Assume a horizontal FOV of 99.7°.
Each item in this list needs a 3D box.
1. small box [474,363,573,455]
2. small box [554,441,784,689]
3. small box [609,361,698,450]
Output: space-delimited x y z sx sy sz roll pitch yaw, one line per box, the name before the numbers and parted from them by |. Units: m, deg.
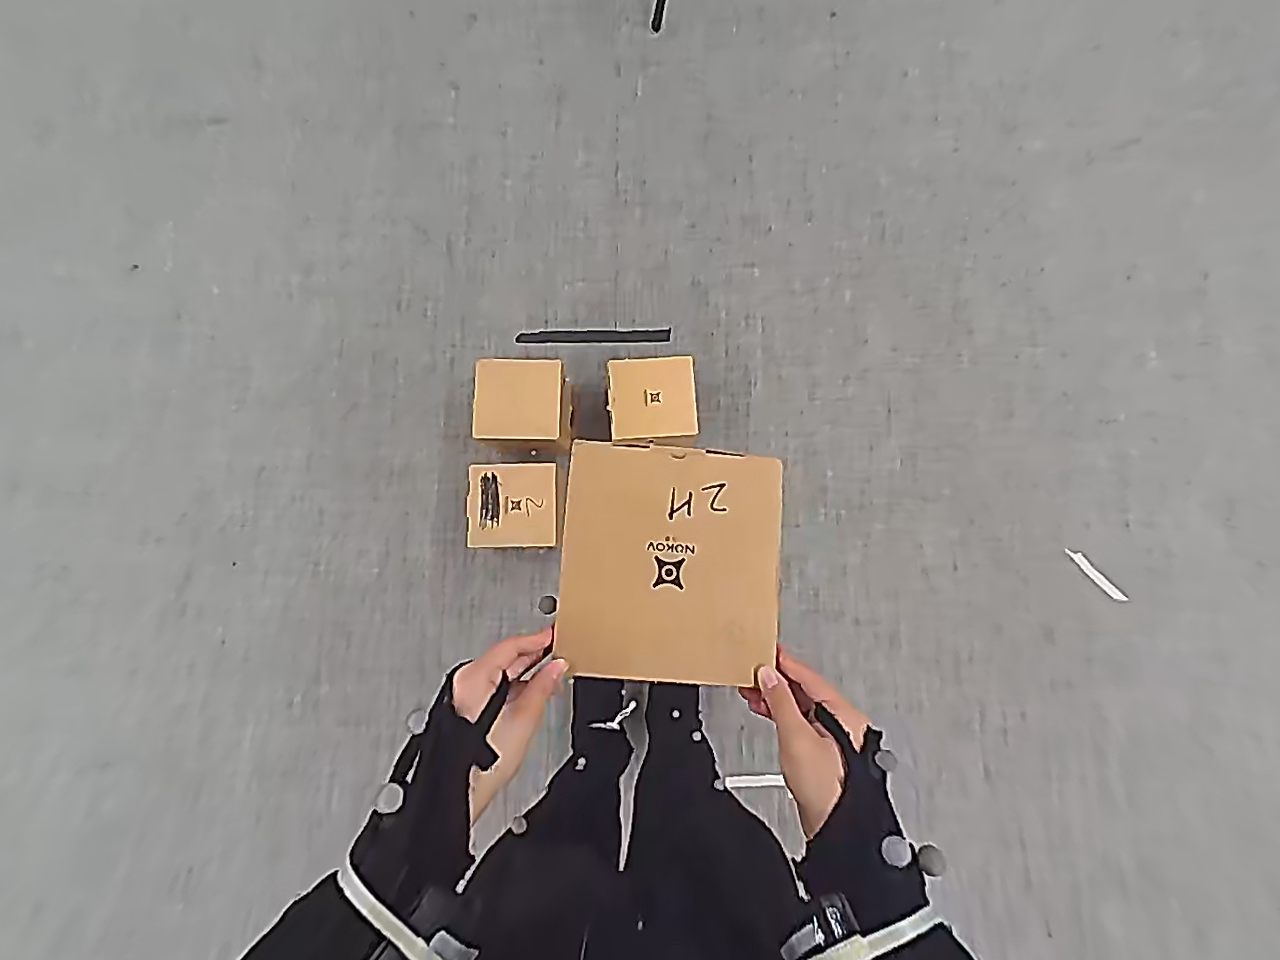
small box | -0.244 -0.147 1.168 0.179 0.176 0.168 1 83 0
small box | 0.022 0.074 0.486 0.168 0.176 0.179 5 80 -2
small box | 0.026 -0.150 1.174 0.179 0.176 0.168 -4 83 0
